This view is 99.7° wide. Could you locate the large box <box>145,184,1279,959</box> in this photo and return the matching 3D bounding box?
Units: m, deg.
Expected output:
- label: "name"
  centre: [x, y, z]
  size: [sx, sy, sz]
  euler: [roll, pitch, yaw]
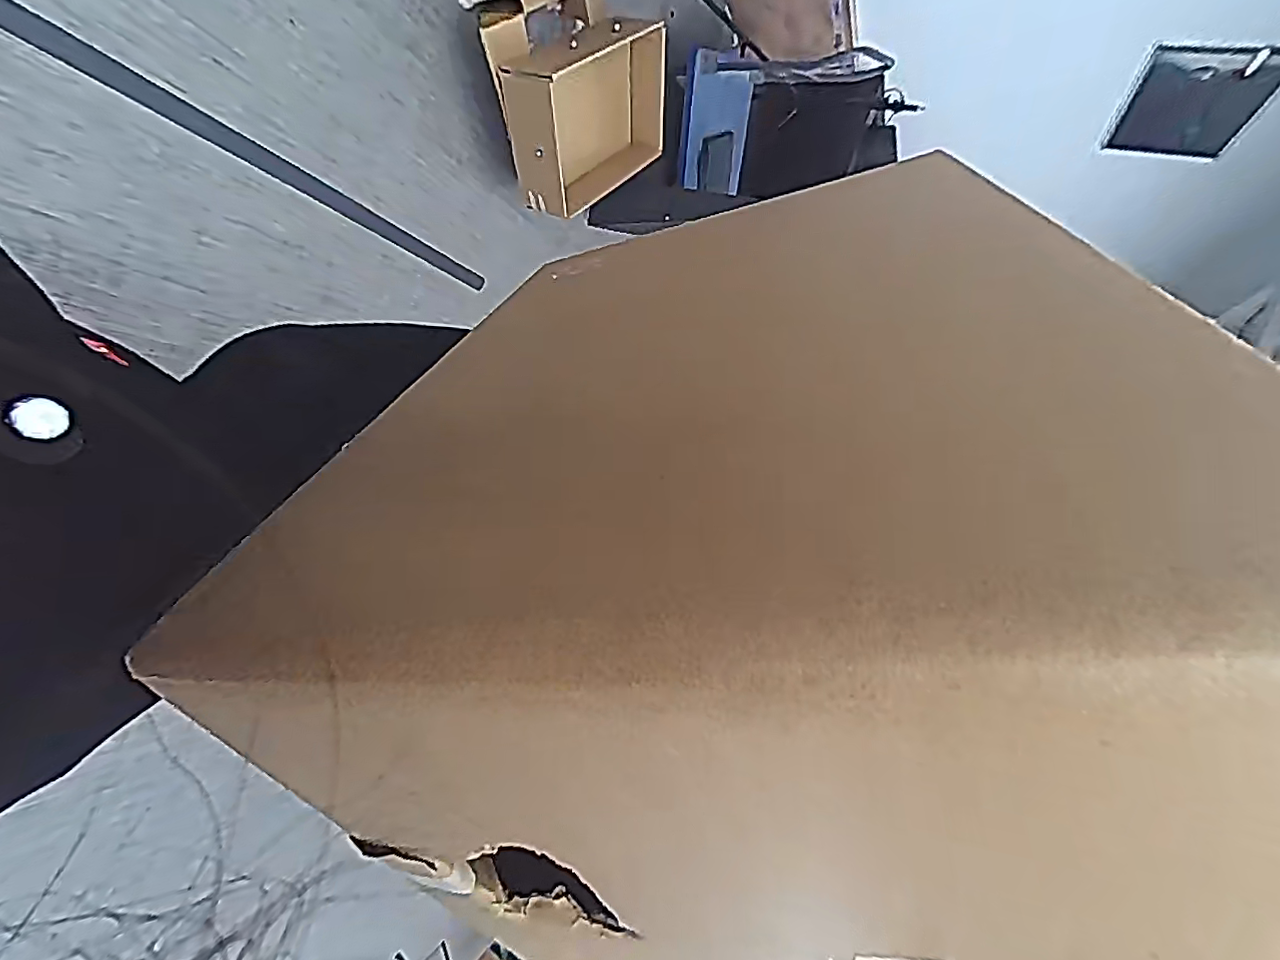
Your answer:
- label: "large box"
  centre: [0.060, 0.042, 0.356]
  size: [0.408, 0.320, 0.320]
  euler: [-70, 148, -50]
